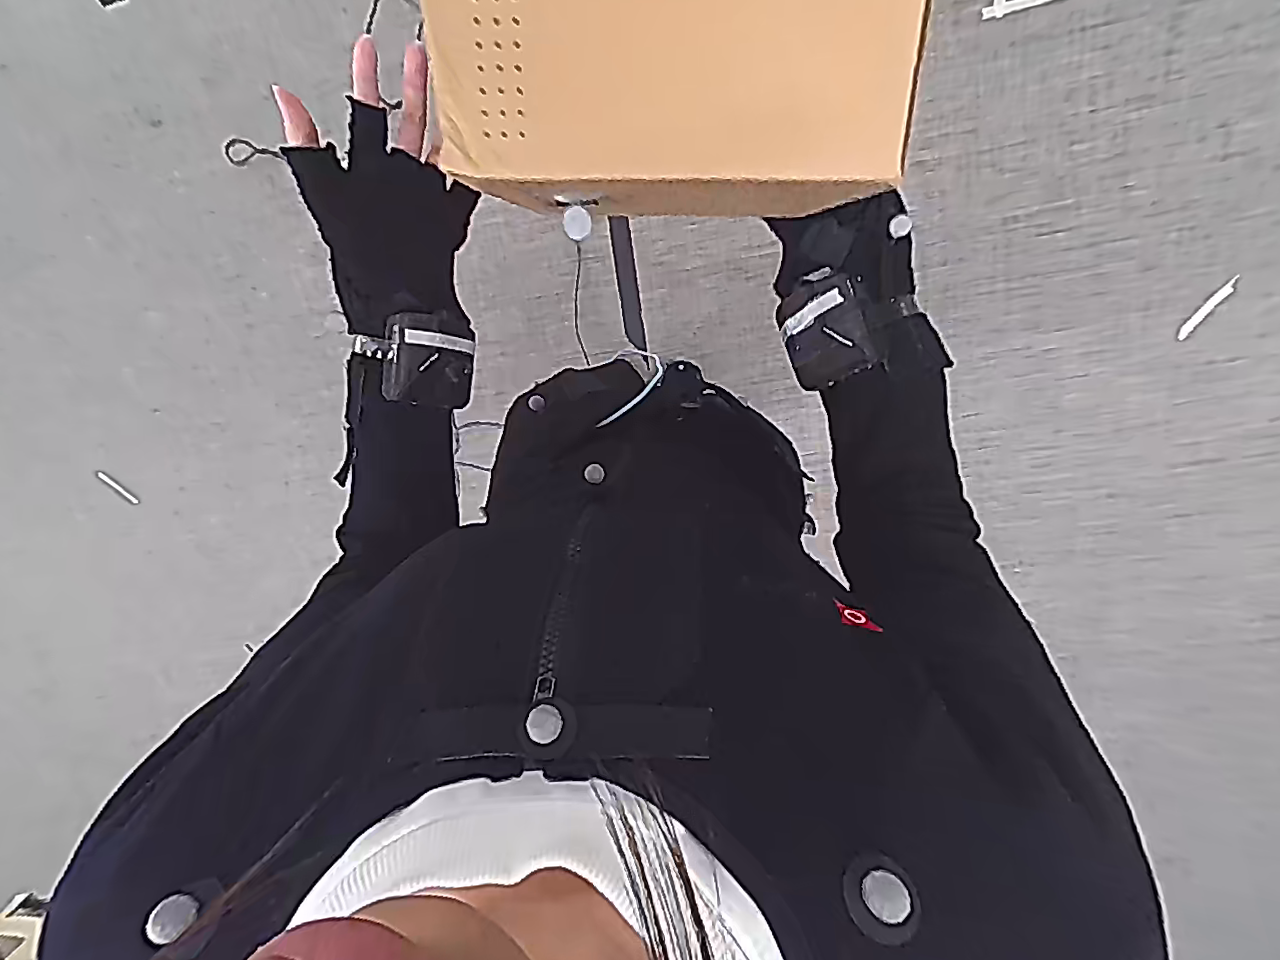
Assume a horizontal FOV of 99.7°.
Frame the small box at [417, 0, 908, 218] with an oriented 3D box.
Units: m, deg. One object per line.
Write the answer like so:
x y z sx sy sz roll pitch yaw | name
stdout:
0.008 -0.223 0.244 0.176 0.168 0.179 2 112 4 | small box
